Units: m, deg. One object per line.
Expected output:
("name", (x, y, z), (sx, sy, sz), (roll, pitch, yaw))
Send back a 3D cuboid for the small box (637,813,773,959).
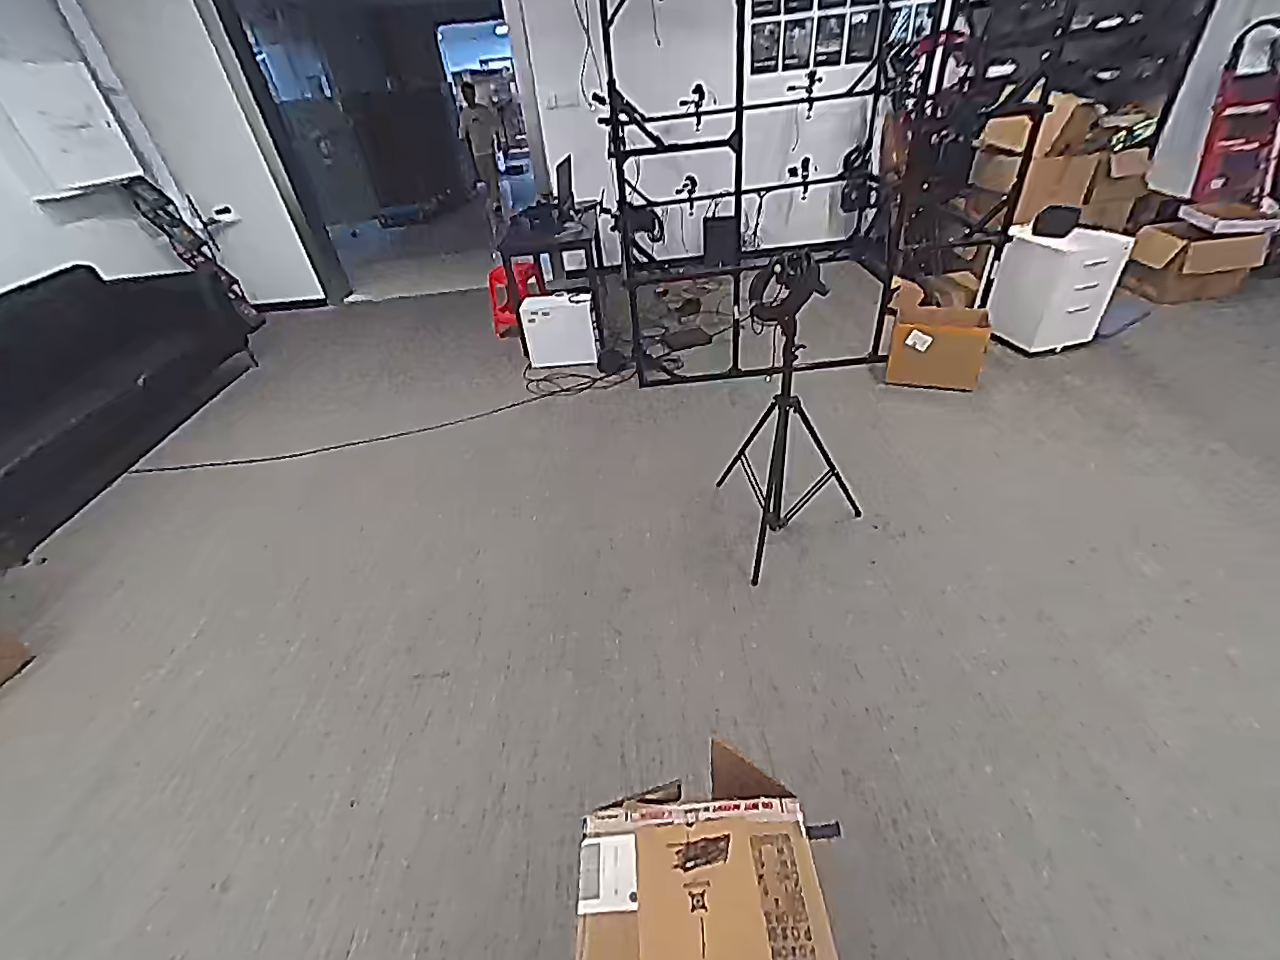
("small box", (0.086, 0.609, 0.775), (0.168, 0.176, 0.179), (-6, 40, 1))
